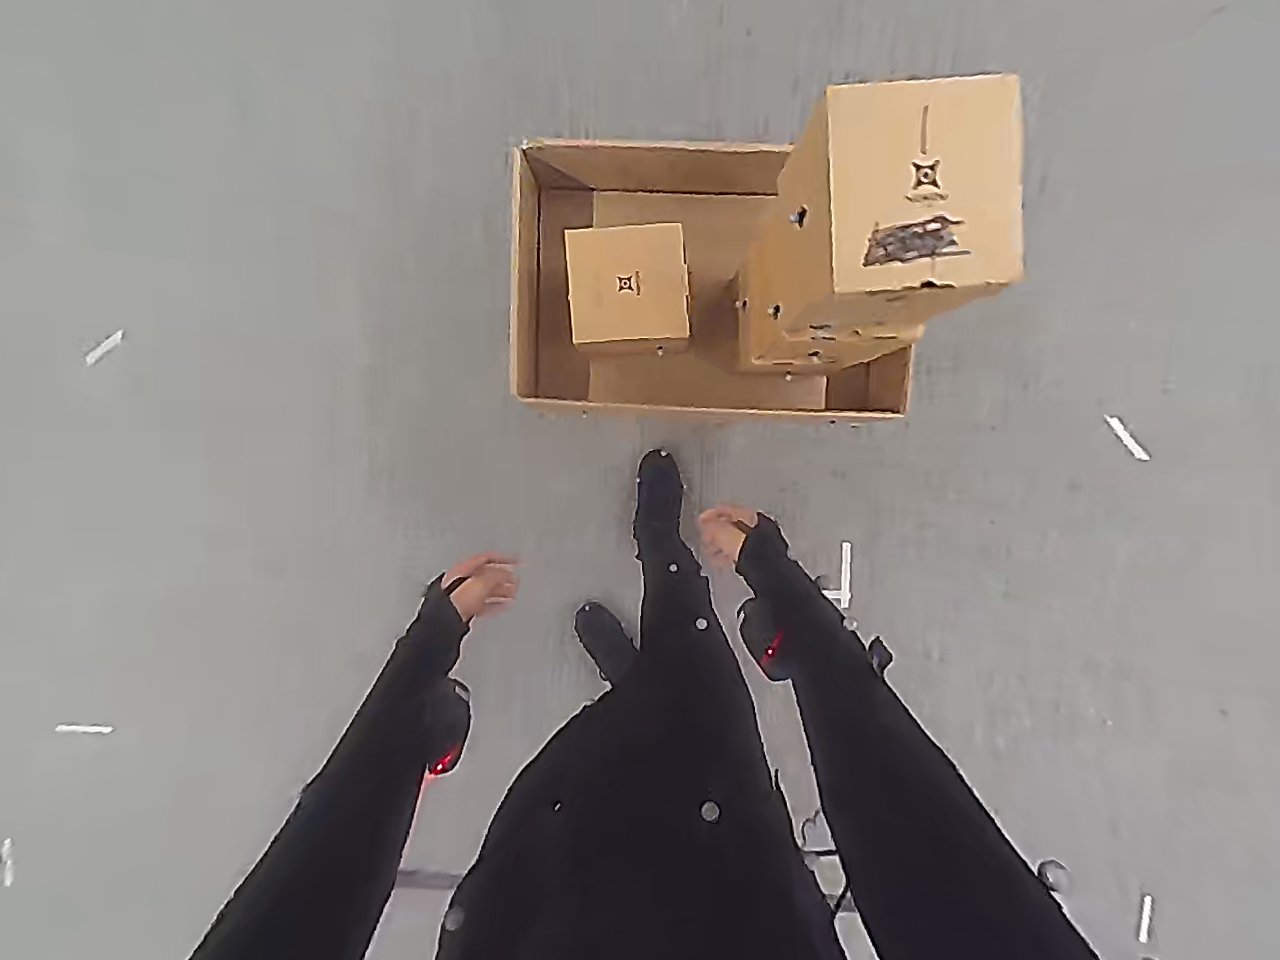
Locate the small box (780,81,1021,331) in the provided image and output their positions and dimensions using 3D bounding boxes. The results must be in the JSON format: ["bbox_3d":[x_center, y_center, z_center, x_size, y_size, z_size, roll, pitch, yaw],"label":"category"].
[{"bbox_3d":[0.242,-0.252,0.542,0.168,0.176,0.179,-3,94,1],"label":"small box"}]

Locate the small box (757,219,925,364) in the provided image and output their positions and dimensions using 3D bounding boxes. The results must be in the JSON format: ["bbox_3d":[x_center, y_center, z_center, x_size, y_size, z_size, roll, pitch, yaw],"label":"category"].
[{"bbox_3d":[0.251,-0.252,0.707,0.168,0.176,0.179,0,95,1],"label":"small box"}]
